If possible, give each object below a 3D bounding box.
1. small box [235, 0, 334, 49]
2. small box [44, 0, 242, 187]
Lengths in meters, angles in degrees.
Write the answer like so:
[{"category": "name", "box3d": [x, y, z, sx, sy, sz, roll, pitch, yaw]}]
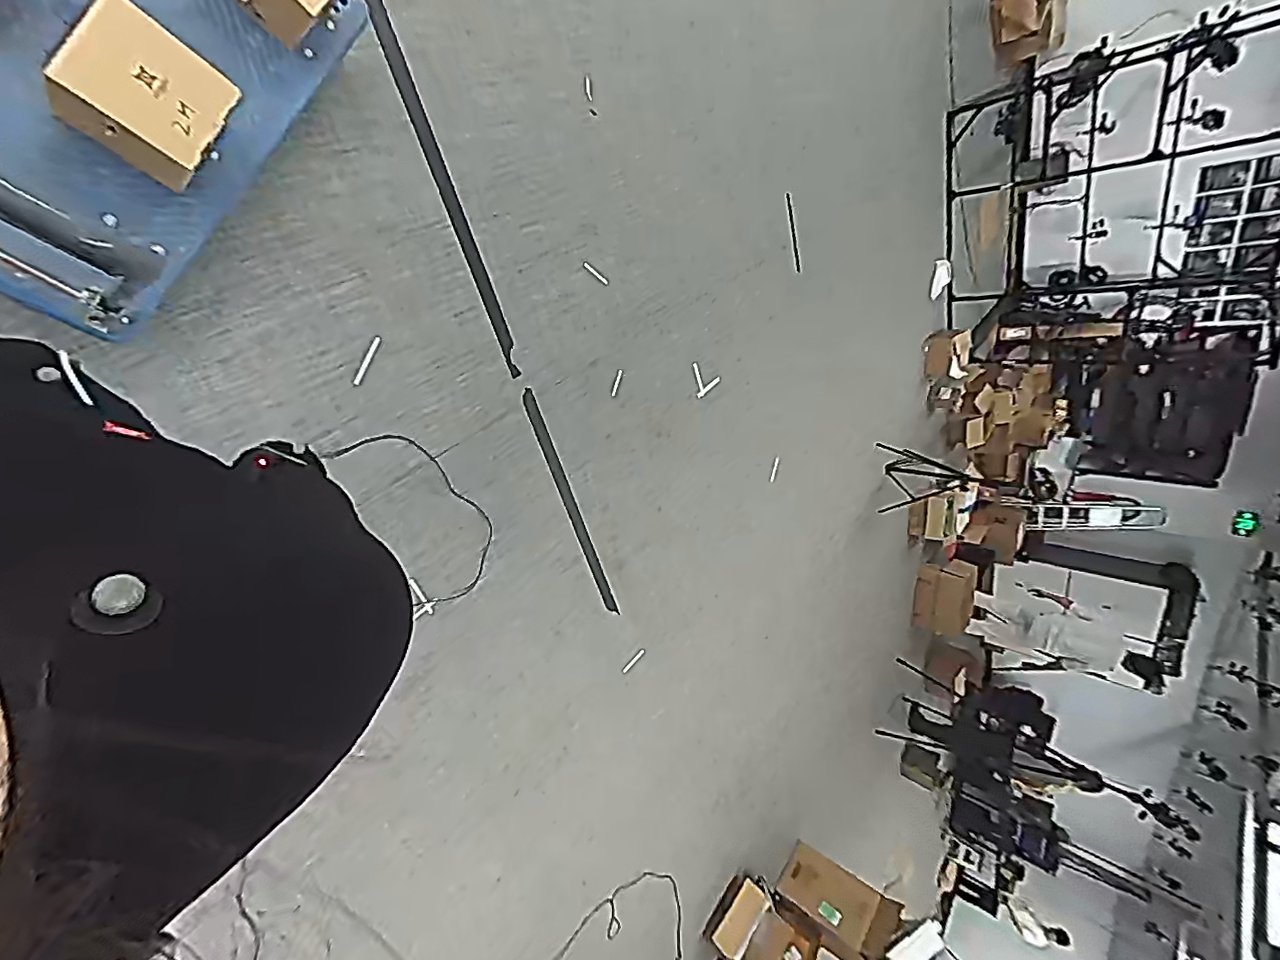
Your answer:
[{"category": "small box", "box3d": [-0.637, -0.930, 0.963, 0.168, 0.176, 0.179, 40, 71, -44]}, {"category": "small box", "box3d": [-0.794, -0.609, 0.870, 0.179, 0.176, 0.168, 34, 75, -45]}]
